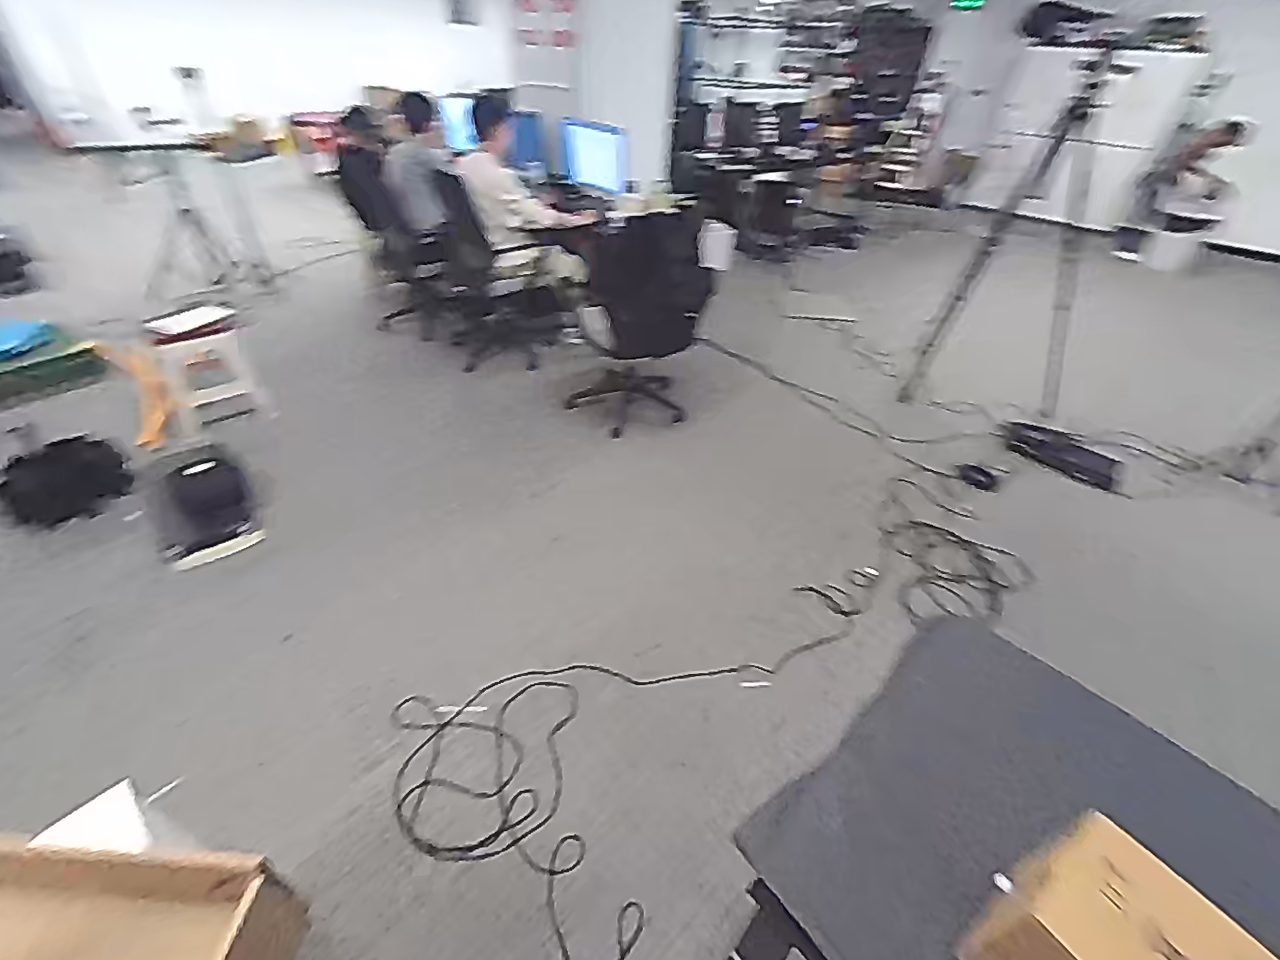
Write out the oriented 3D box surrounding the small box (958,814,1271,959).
[{"bbox_3d":[0.477,0.499,0.552,0.168,0.176,0.179,-20,44,-29],"label":"small box"}]
